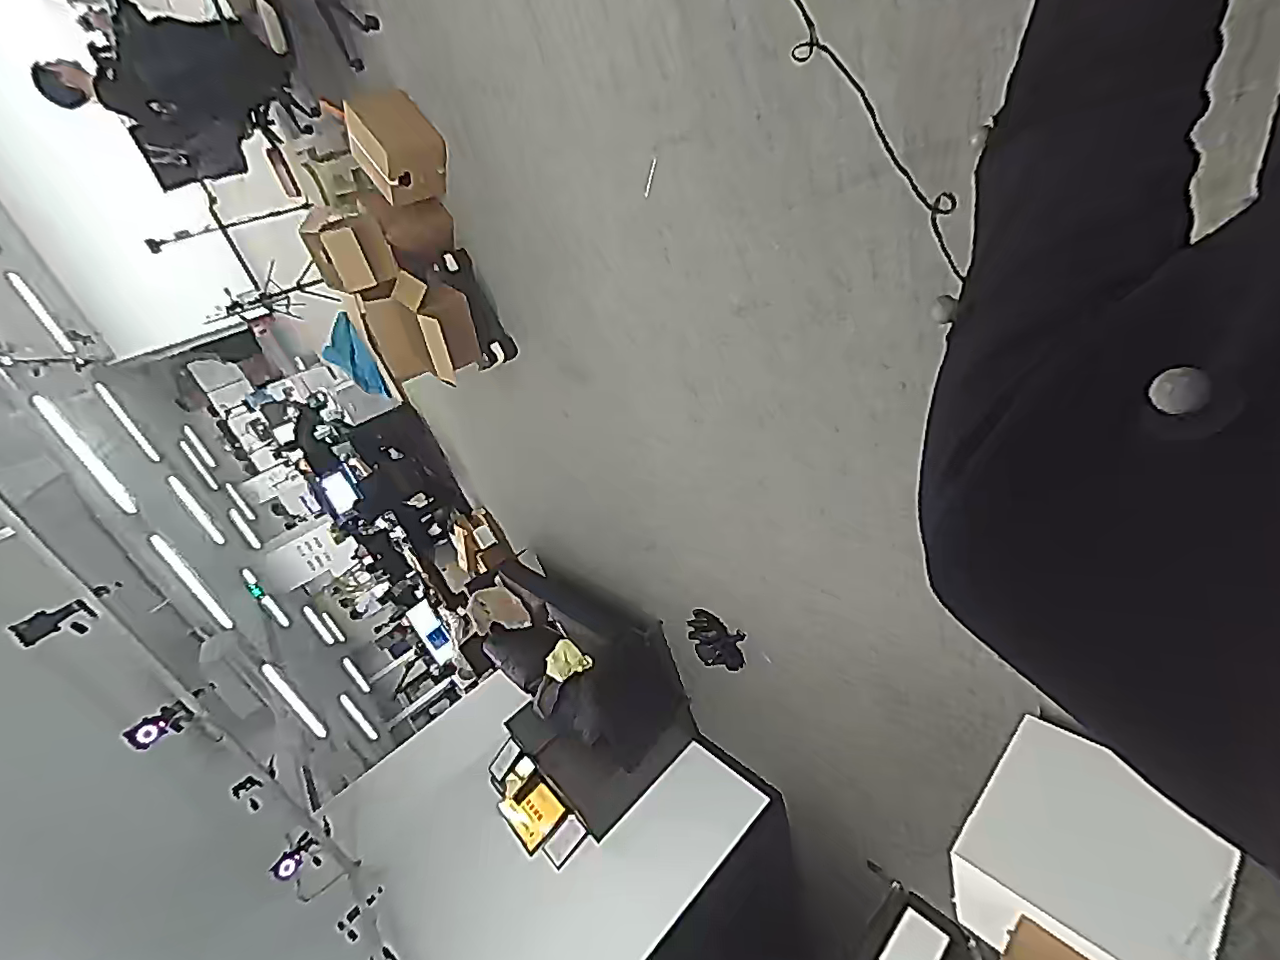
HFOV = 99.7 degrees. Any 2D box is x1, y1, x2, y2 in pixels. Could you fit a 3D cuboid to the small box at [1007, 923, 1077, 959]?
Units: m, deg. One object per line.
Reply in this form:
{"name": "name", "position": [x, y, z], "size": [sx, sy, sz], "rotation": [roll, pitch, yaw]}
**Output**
{"name": "small box", "position": [1.021, 1.277, 1.347], "size": [0.179, 0.176, 0.168], "rotation": [18, 133, 50]}
